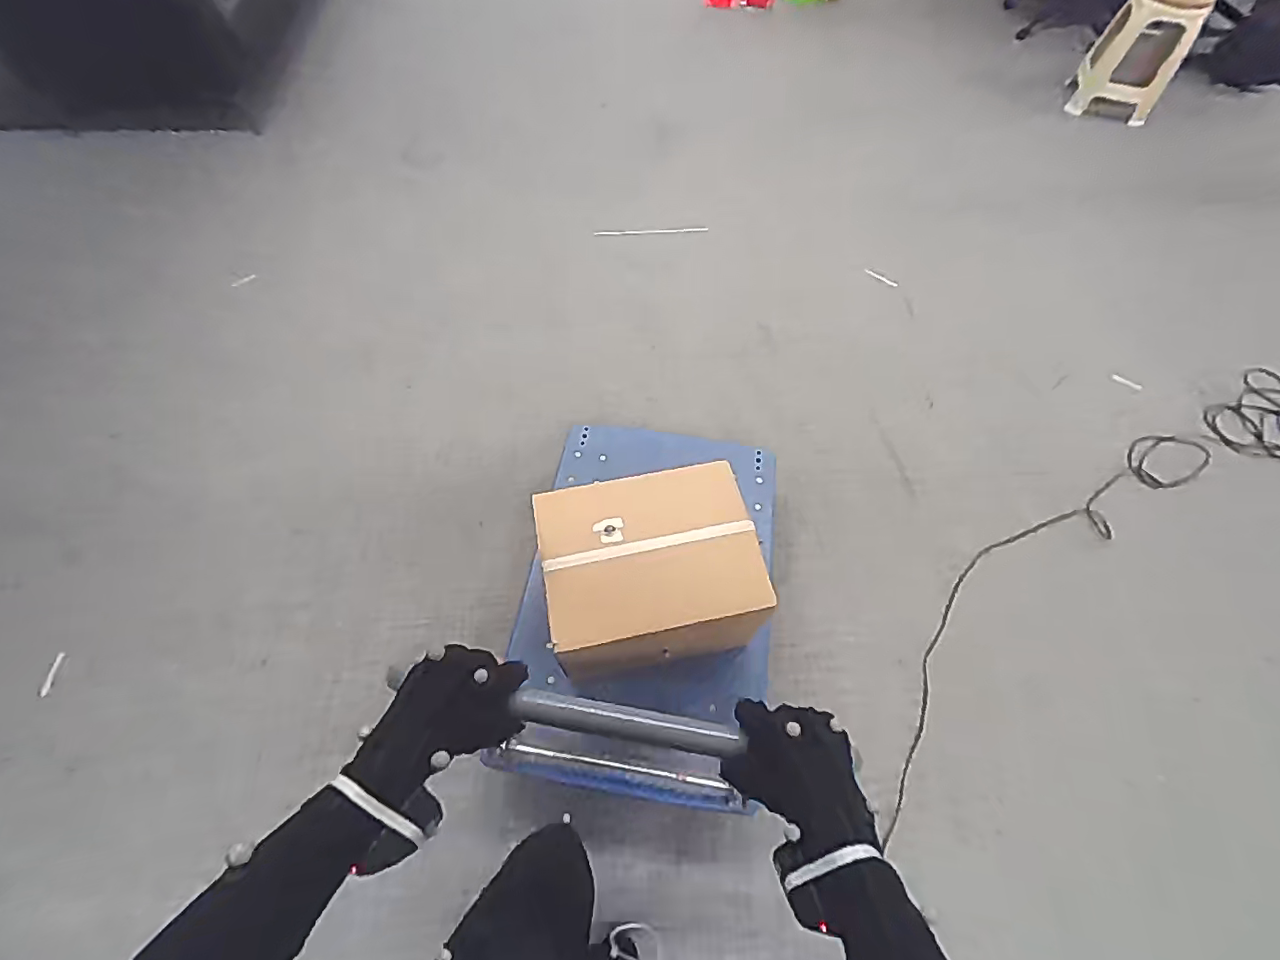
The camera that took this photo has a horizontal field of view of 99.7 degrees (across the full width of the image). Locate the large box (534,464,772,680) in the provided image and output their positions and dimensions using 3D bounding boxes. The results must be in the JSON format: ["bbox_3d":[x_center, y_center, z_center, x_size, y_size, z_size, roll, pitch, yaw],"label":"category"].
[{"bbox_3d":[0.017,0.206,1.154,0.408,0.320,0.320,-11,61,-6],"label":"large box"}]
